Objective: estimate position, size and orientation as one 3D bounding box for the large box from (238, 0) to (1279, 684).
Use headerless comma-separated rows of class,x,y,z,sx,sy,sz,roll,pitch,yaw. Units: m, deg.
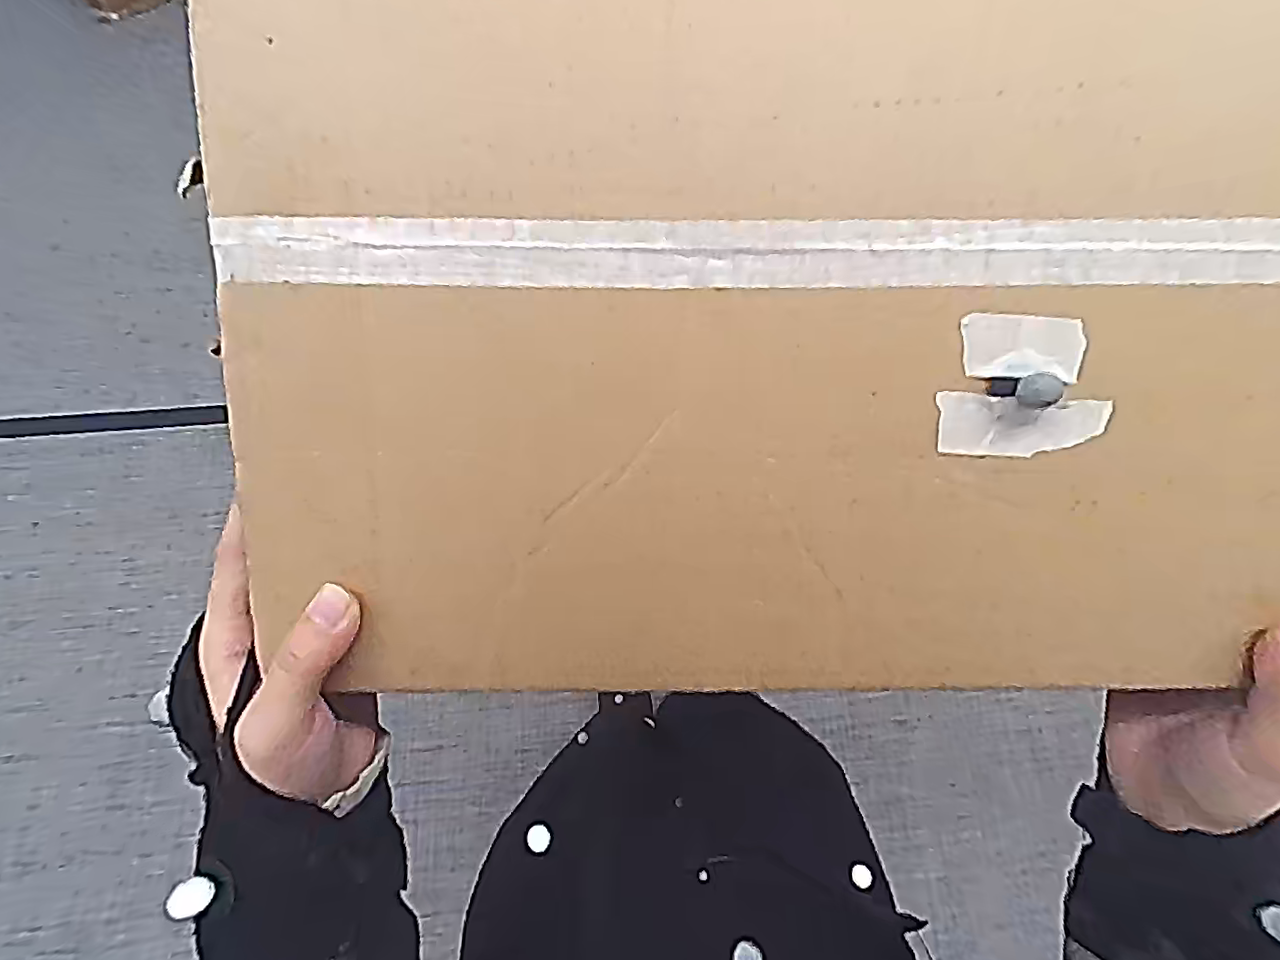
large box,0.057,-0.093,0.344,0.408,0.320,0.320,0,97,-2
